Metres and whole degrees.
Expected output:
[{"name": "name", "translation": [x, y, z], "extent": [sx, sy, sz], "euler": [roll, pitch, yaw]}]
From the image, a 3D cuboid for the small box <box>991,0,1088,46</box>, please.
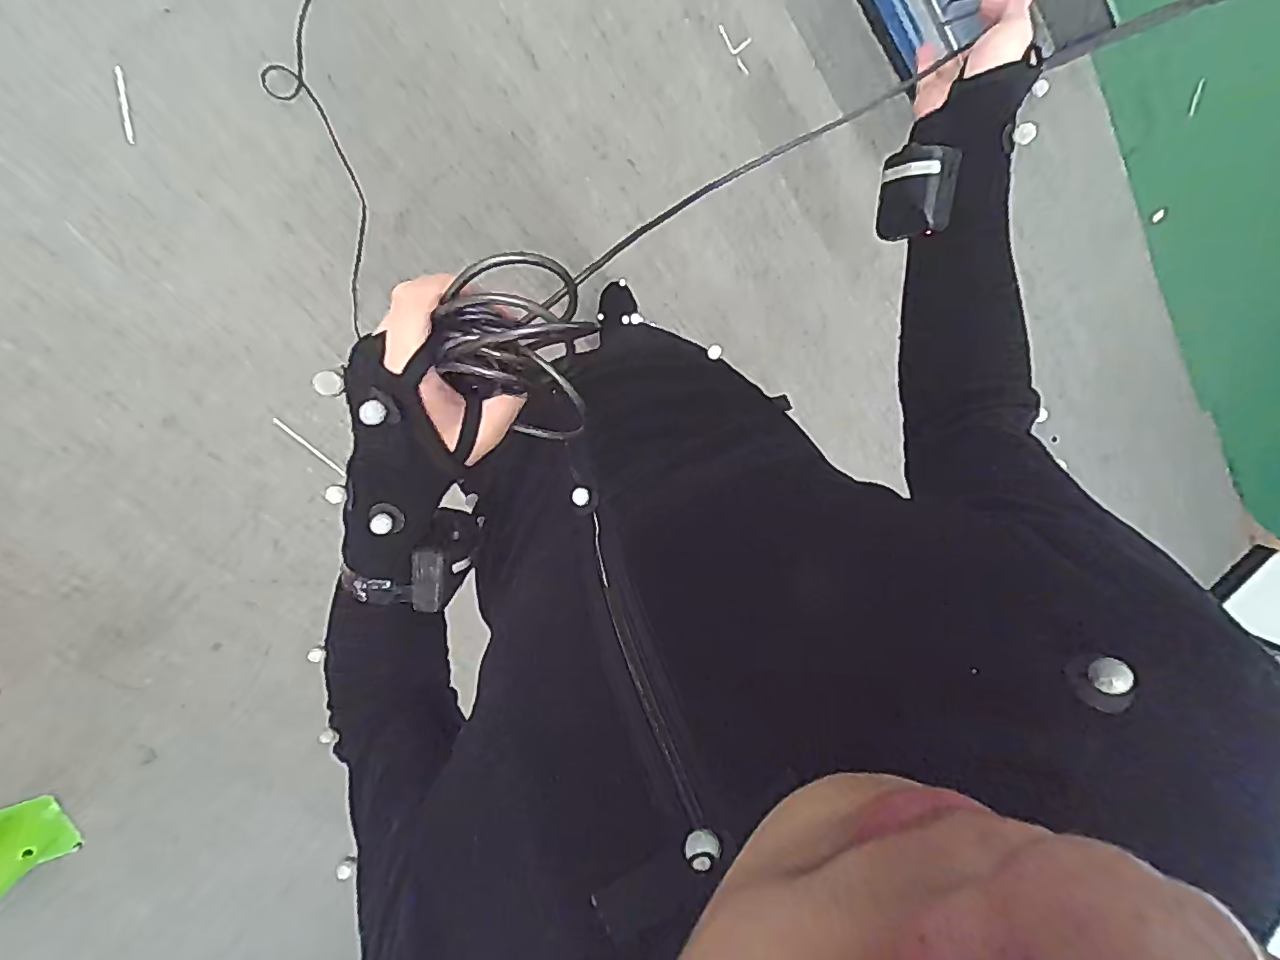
[{"name": "small box", "translation": [1.005, -1.228, 1.320], "extent": [0.179, 0.176, 0.168], "euler": [-44, 112, 1]}]
